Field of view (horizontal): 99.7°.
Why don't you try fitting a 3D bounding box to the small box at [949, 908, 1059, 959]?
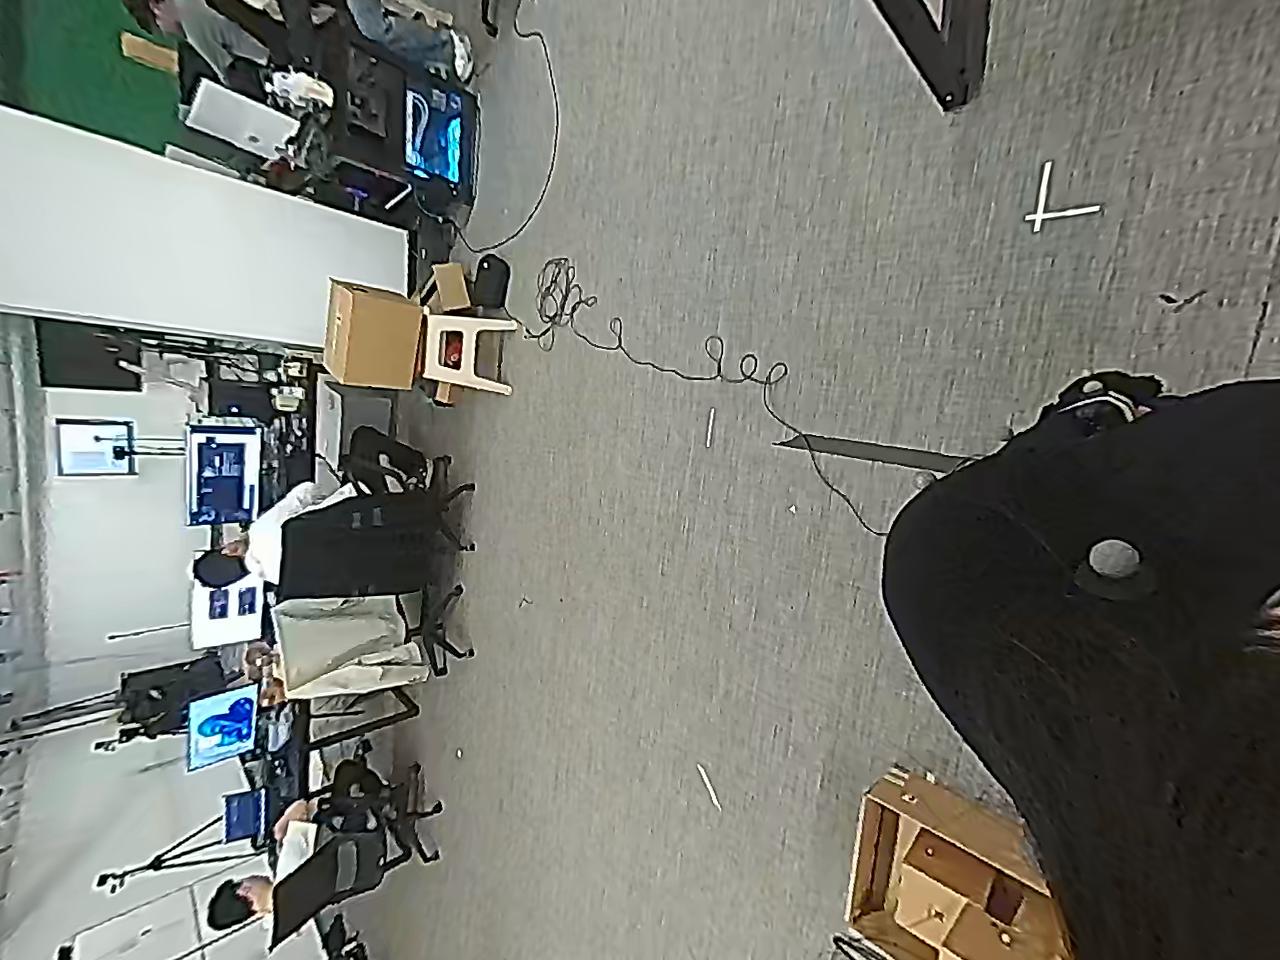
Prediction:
[{"bbox_3d":[0.739,1.043,1.099,0.168,0.176,0.179,10,98,47],"label":"small box"}]
